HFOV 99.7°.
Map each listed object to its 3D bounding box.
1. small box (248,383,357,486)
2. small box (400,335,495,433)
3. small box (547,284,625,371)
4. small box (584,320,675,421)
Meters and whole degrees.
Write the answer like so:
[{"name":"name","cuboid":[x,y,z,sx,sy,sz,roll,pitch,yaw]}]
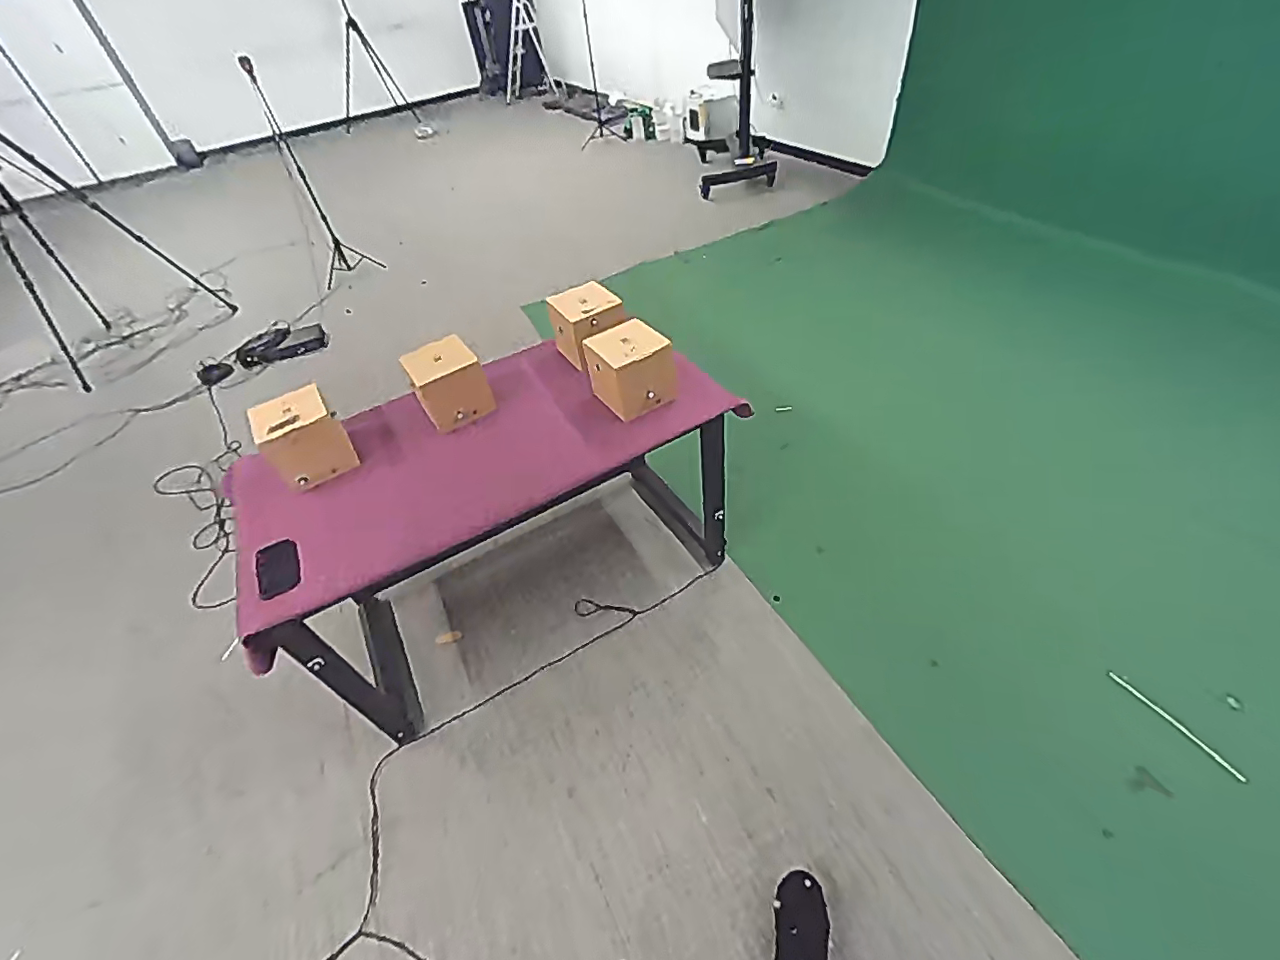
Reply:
[{"name":"small box","cuboid":[-0.837,-0.107,1.352,0.168,0.176,0.179,-29,48,-19]},{"name":"small box","cuboid":[-0.514,-0.257,1.456,0.168,0.176,0.179,-29,49,-18]},{"name":"small box","cuboid":[-0.151,-0.446,1.585,0.168,0.176,0.179,-28,48,-17]},{"name":"small box","cuboid":[-0.025,-0.283,1.403,0.168,0.176,0.179,-28,47,-16]}]
